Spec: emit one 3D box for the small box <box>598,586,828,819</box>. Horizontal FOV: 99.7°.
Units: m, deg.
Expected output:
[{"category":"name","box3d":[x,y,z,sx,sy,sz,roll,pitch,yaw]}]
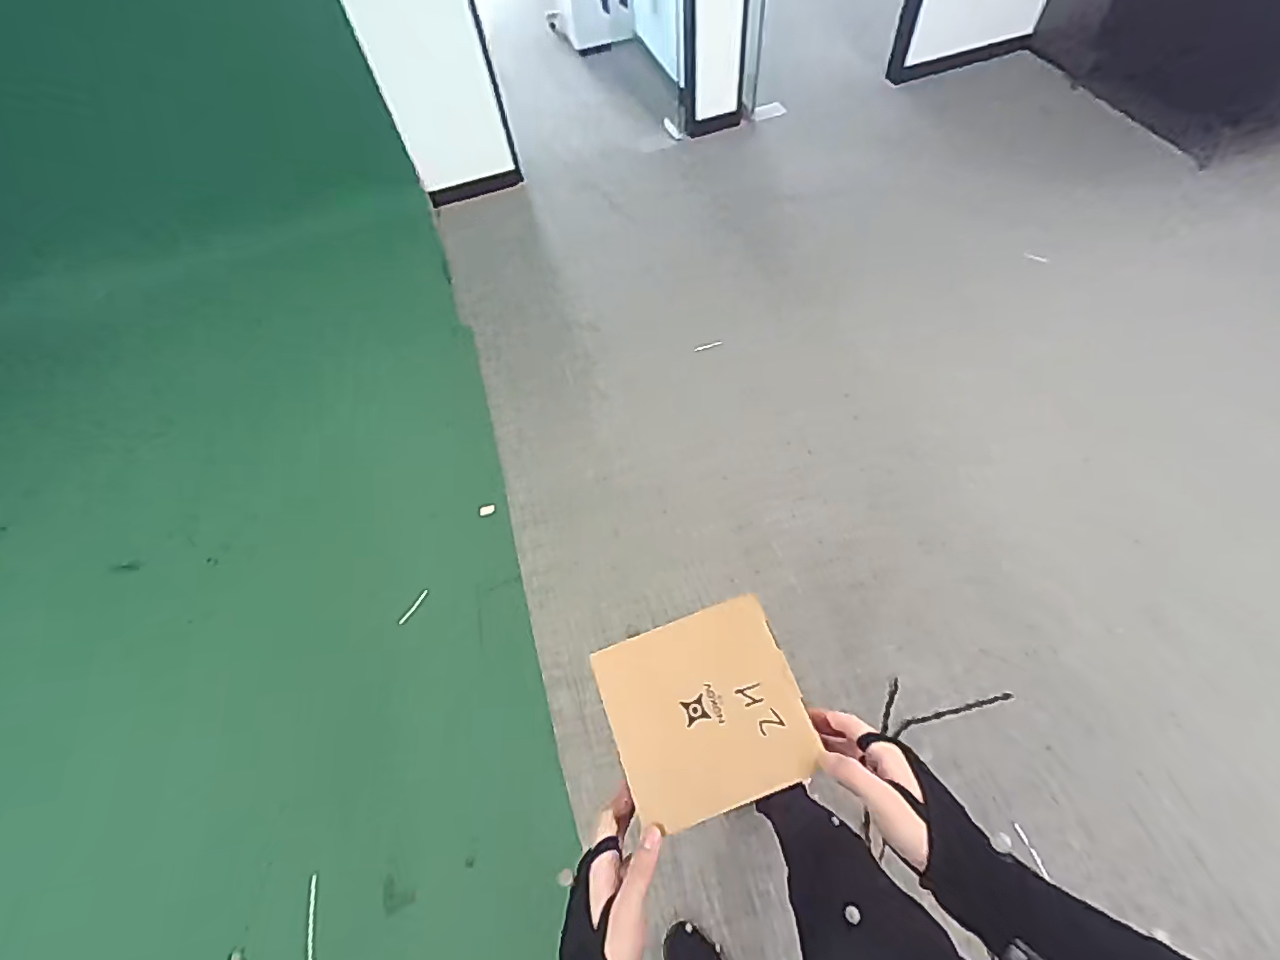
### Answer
[{"category":"small box","box3d":[0.071,0.234,0.580,0.179,0.176,0.168,-19,67,-3]}]
